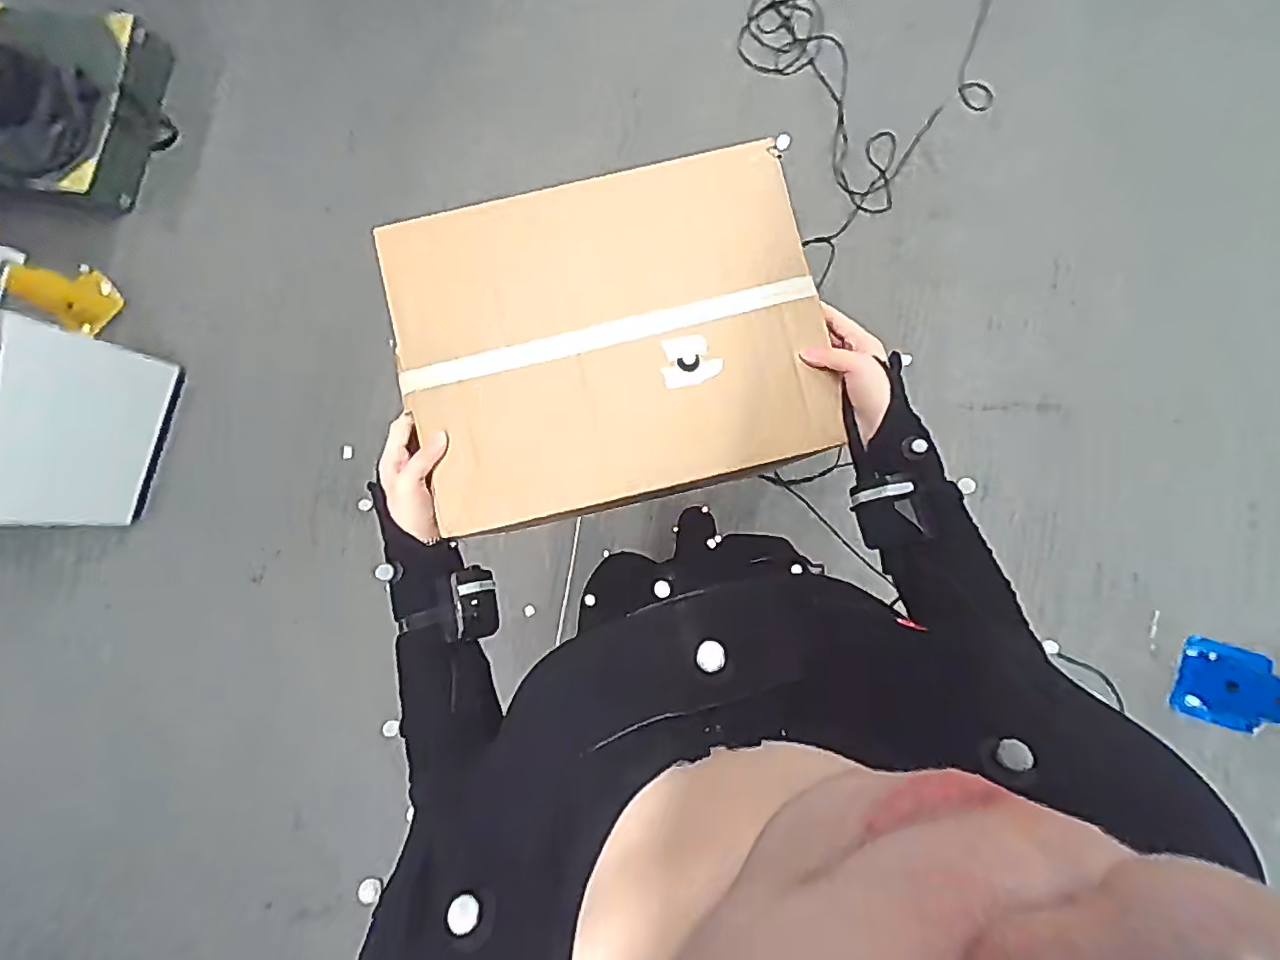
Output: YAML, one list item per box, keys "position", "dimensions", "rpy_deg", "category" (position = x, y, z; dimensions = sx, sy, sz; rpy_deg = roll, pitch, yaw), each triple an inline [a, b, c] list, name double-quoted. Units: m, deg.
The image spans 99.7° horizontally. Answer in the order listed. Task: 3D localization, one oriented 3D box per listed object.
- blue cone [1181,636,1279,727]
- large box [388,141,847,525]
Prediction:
- position: [1.441, 0.482, 1.179]
  dimensions: [0.192, 0.380, 0.193]
  rpy_deg: [18, 87, 7]
  category: "blue cone"
- position: [-0.027, -0.139, 0.676]
  dimensions: [0.408, 0.320, 0.320]
  rpy_deg: [-13, 87, -2]
  category: "large box"
